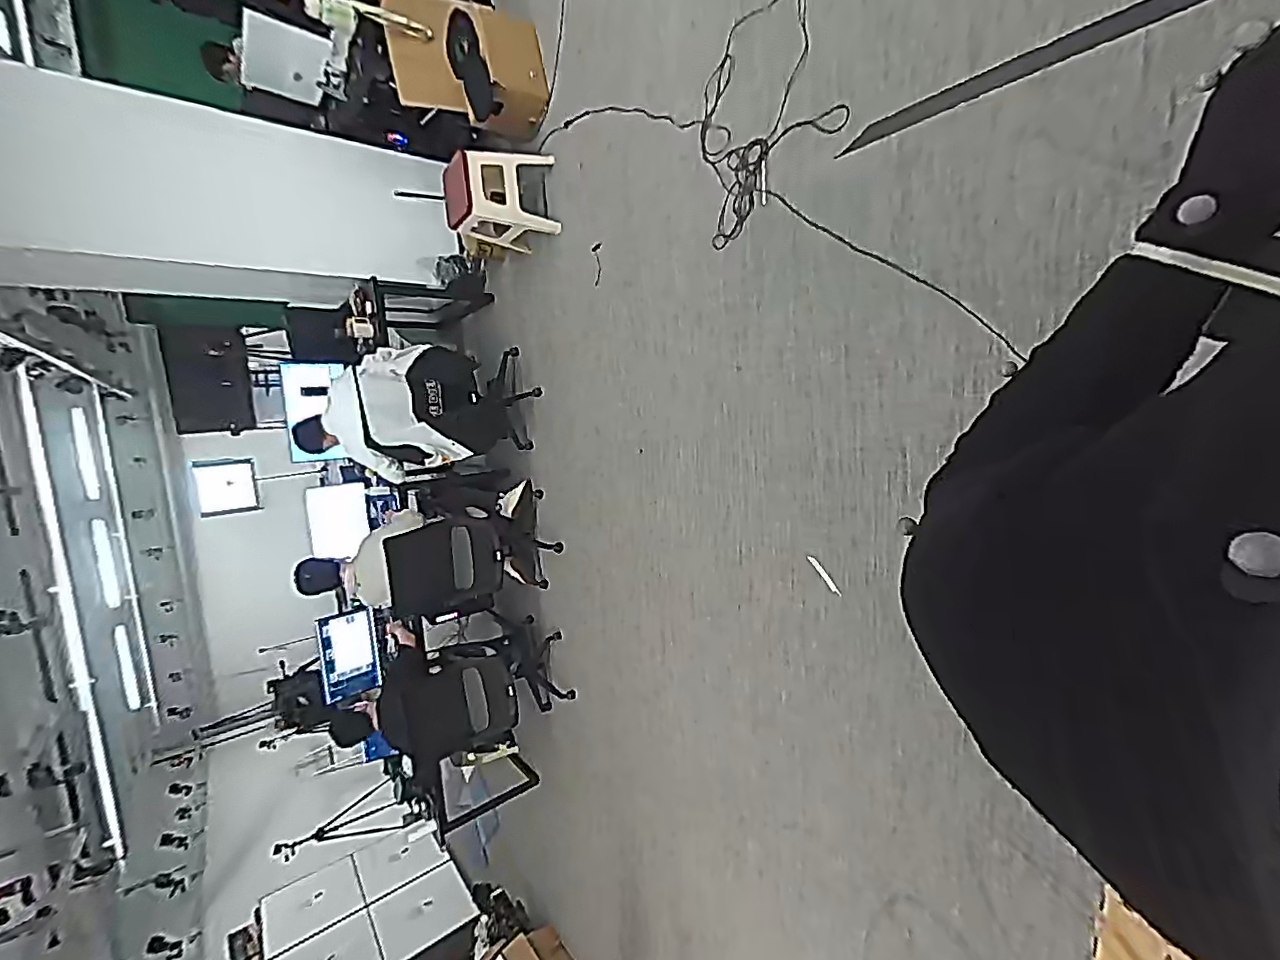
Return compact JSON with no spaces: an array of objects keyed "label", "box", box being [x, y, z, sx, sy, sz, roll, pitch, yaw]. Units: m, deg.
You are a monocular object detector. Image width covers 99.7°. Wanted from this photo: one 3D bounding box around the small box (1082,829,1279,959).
[{"label":"small box","box":[0.779,0.648,0.778,0.179,0.176,0.168,12,107,52]}]
